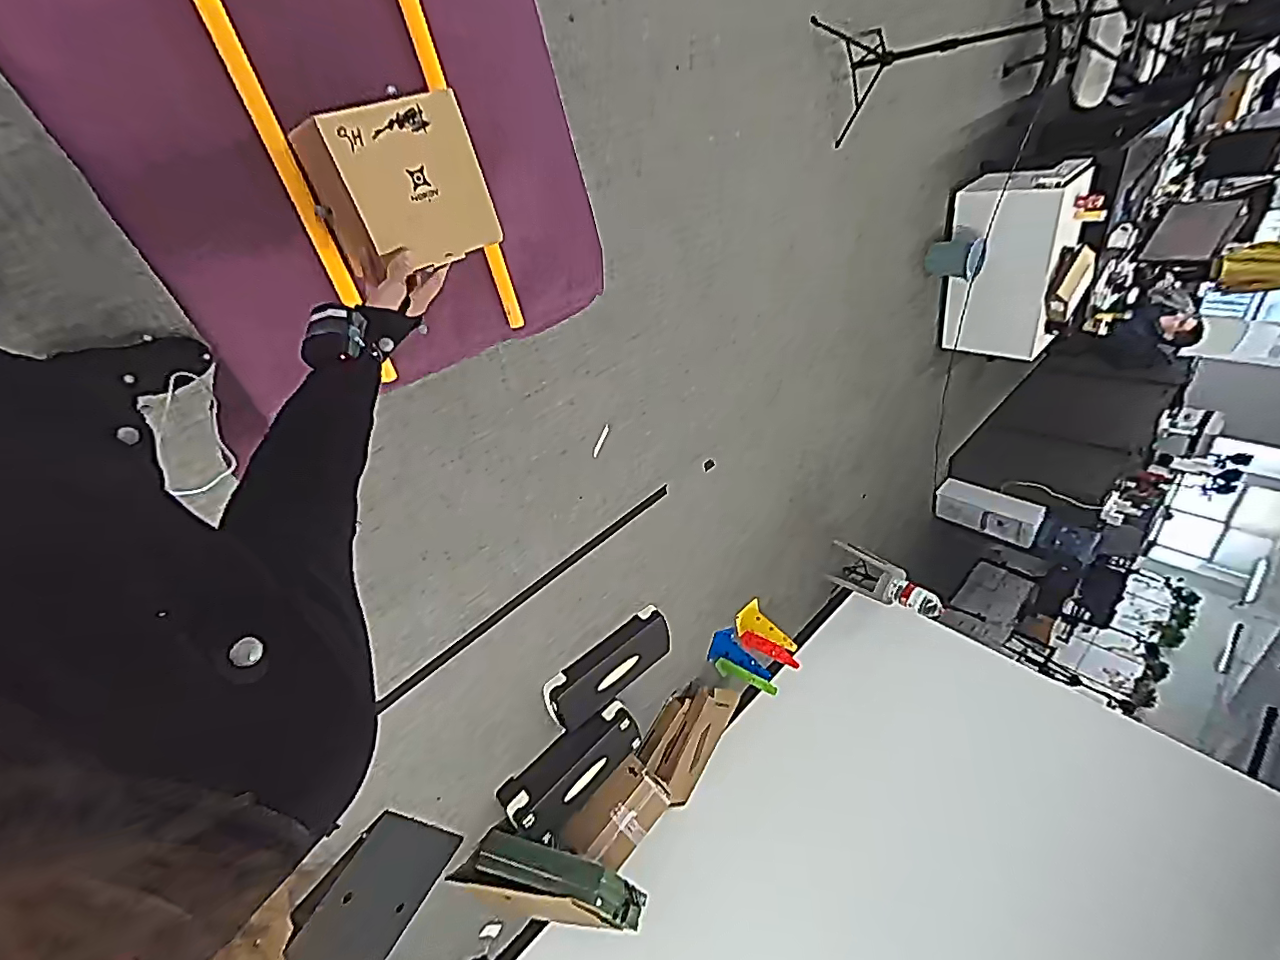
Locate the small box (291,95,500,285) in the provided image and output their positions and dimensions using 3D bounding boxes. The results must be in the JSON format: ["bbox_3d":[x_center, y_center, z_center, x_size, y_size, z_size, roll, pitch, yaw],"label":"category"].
[{"bbox_3d":[-0.316,-0.375,0.706,0.168,0.176,0.179,-34,129,-27],"label":"small box"}]
